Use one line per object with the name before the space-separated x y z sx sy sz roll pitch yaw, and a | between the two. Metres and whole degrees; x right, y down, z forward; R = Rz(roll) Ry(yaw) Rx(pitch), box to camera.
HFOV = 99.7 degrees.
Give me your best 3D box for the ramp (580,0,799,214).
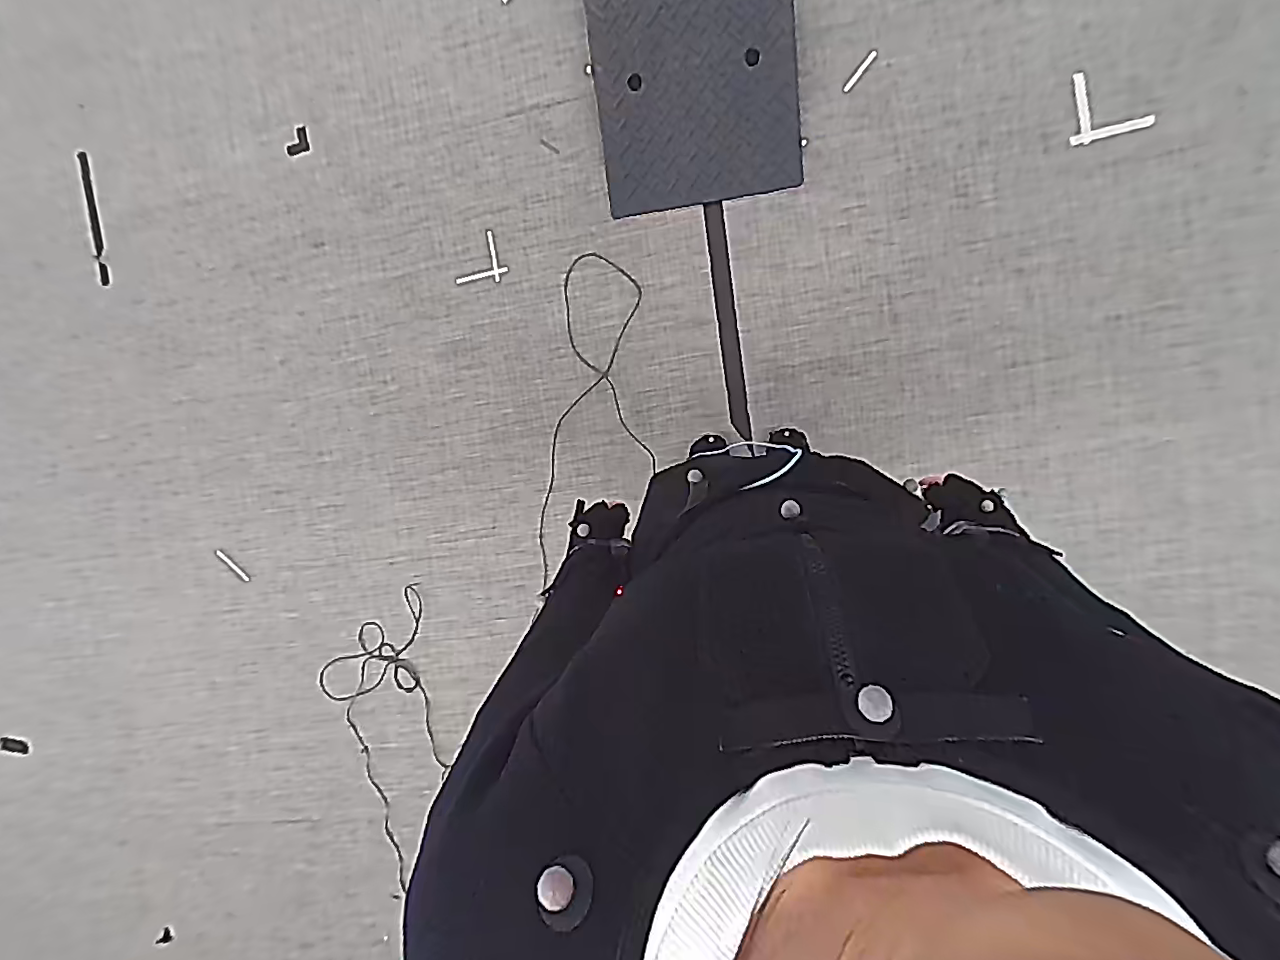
ramp | 0.093 -1.198 1.259 0.509 0.206 0.991 -8 95 8
